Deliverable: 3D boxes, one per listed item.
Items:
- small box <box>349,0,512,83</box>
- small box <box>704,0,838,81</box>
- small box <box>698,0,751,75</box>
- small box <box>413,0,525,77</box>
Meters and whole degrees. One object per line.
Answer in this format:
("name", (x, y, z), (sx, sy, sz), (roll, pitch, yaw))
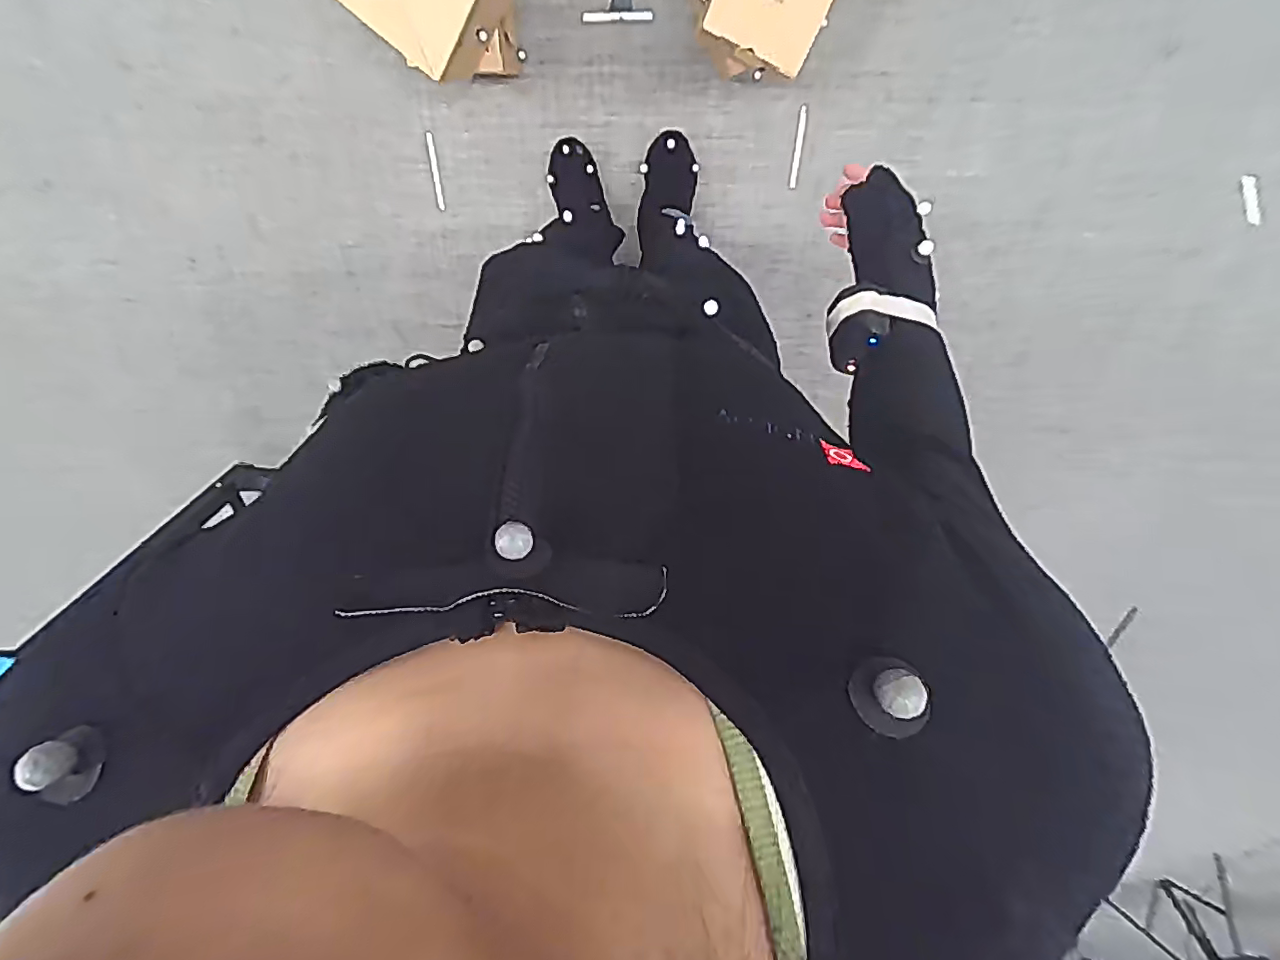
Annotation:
("small box", (-0.326, -0.769, 0.856), (0.179, 0.176, 0.168), (29, 121, -18))
("small box", (0.208, -0.757, 0.841), (0.168, 0.176, 0.179), (20, 124, -13))
("small box", (0.209, -0.863, 0.968), (0.179, 0.176, 0.168), (-27, 120, 20))
("small box", (-0.315, -0.856, 1.000), (0.179, 0.176, 0.168), (4, 125, 2))
